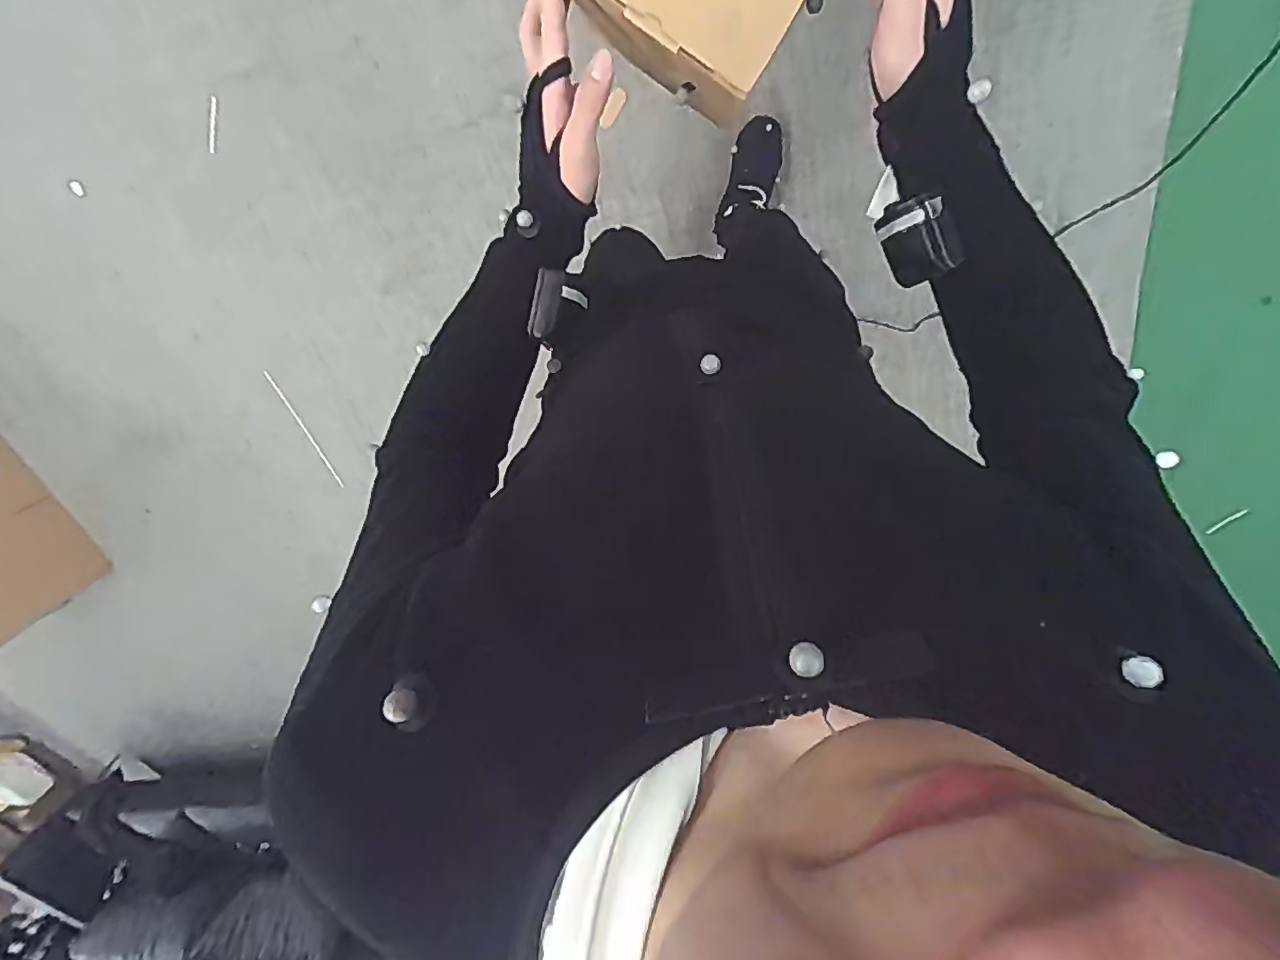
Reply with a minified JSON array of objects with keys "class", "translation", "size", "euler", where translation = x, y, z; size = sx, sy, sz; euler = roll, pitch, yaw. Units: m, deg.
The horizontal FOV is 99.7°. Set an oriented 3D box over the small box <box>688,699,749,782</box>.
[{"class":"small box","translation":[0.236,0.784,1.636],"size":[0.168,0.176,0.179],"euler":[-5,122,11]}]
